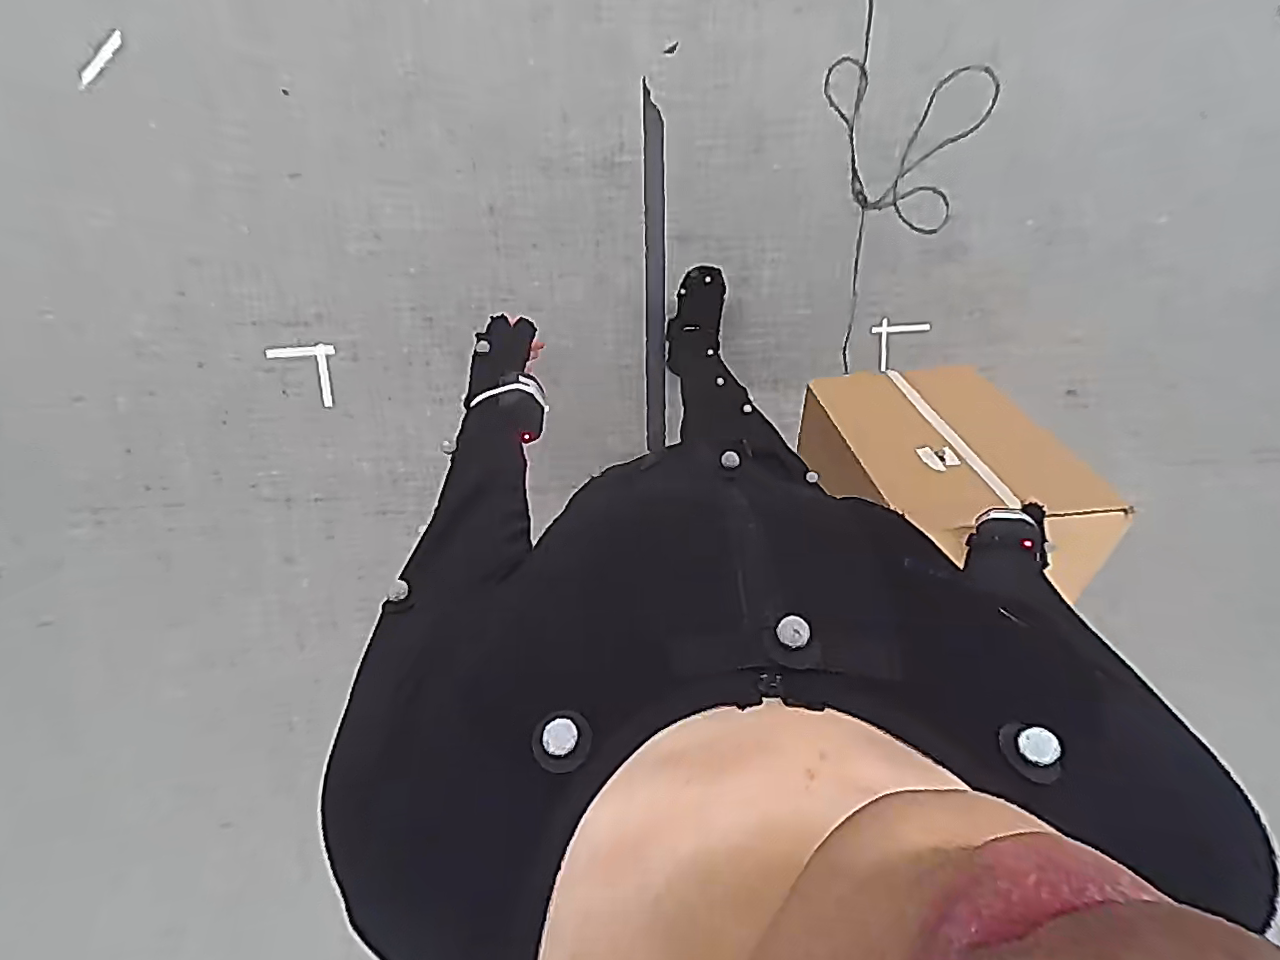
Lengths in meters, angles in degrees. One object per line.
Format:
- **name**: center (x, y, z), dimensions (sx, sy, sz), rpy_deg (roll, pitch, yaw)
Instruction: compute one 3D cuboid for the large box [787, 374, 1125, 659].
- **large box**: center (0.490, 0.049, 0.968), dimensions (0.320, 0.408, 0.320), rpy_deg (-6, 130, -2)
